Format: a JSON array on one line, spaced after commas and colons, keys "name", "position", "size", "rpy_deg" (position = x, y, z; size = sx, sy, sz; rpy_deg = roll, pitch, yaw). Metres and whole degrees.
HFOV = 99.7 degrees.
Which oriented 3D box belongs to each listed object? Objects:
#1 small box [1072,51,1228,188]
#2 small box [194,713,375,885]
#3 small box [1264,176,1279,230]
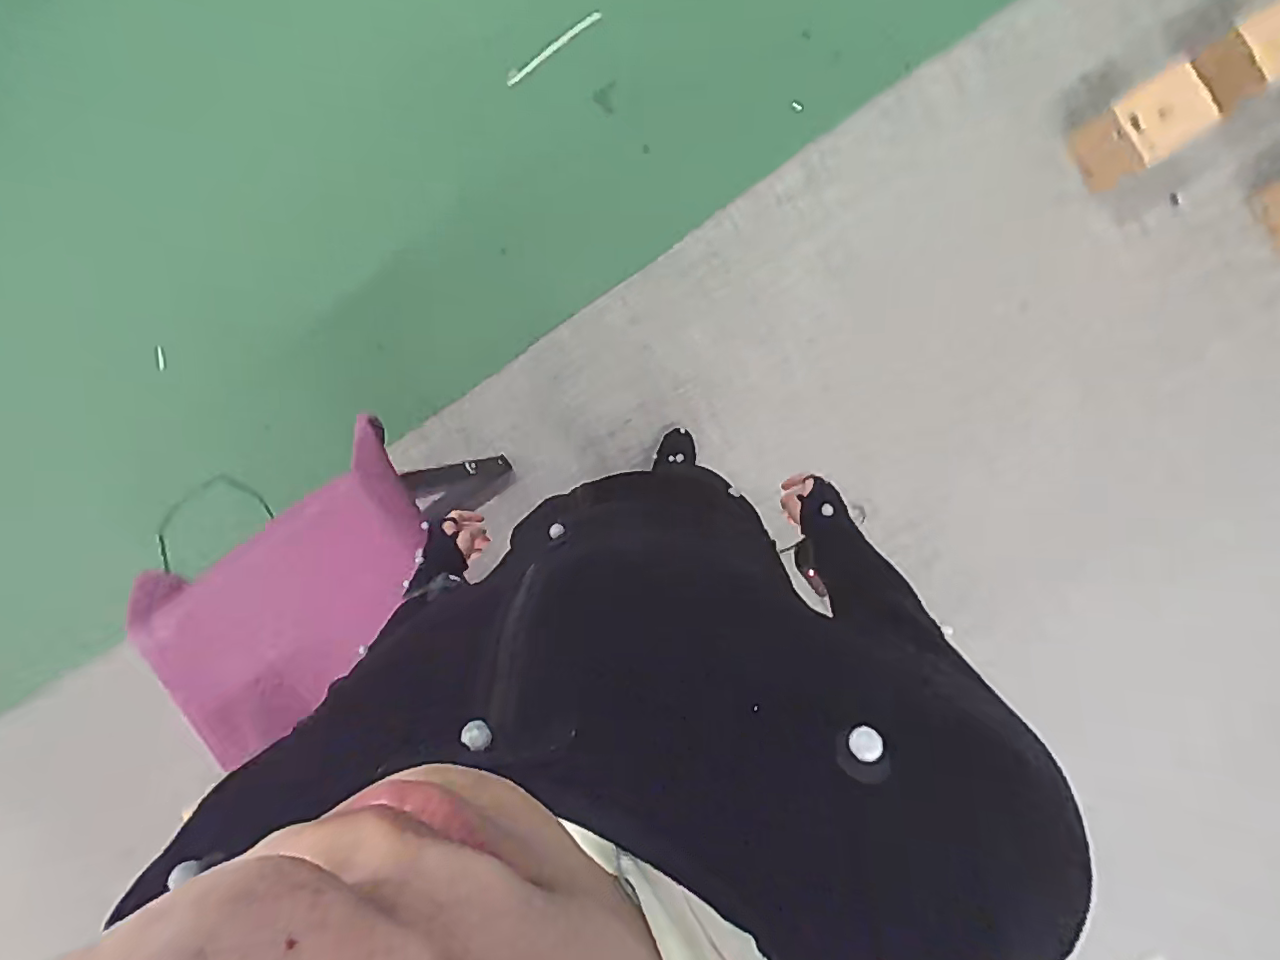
[{"name": "small box", "position": [1.196, -0.844, 1.284], "size": [0.179, 0.176, 0.168], "rpy_deg": [-32, 90, 9]}, {"name": "small box", "position": [-0.627, 0.563, 0.974], "size": [0.179, 0.176, 0.168], "rpy_deg": [-33, 91, 10]}, {"name": "small box", "position": [1.617, -0.678, 1.240], "size": [0.179, 0.176, 0.168], "rpy_deg": [-31, 91, 10]}]
